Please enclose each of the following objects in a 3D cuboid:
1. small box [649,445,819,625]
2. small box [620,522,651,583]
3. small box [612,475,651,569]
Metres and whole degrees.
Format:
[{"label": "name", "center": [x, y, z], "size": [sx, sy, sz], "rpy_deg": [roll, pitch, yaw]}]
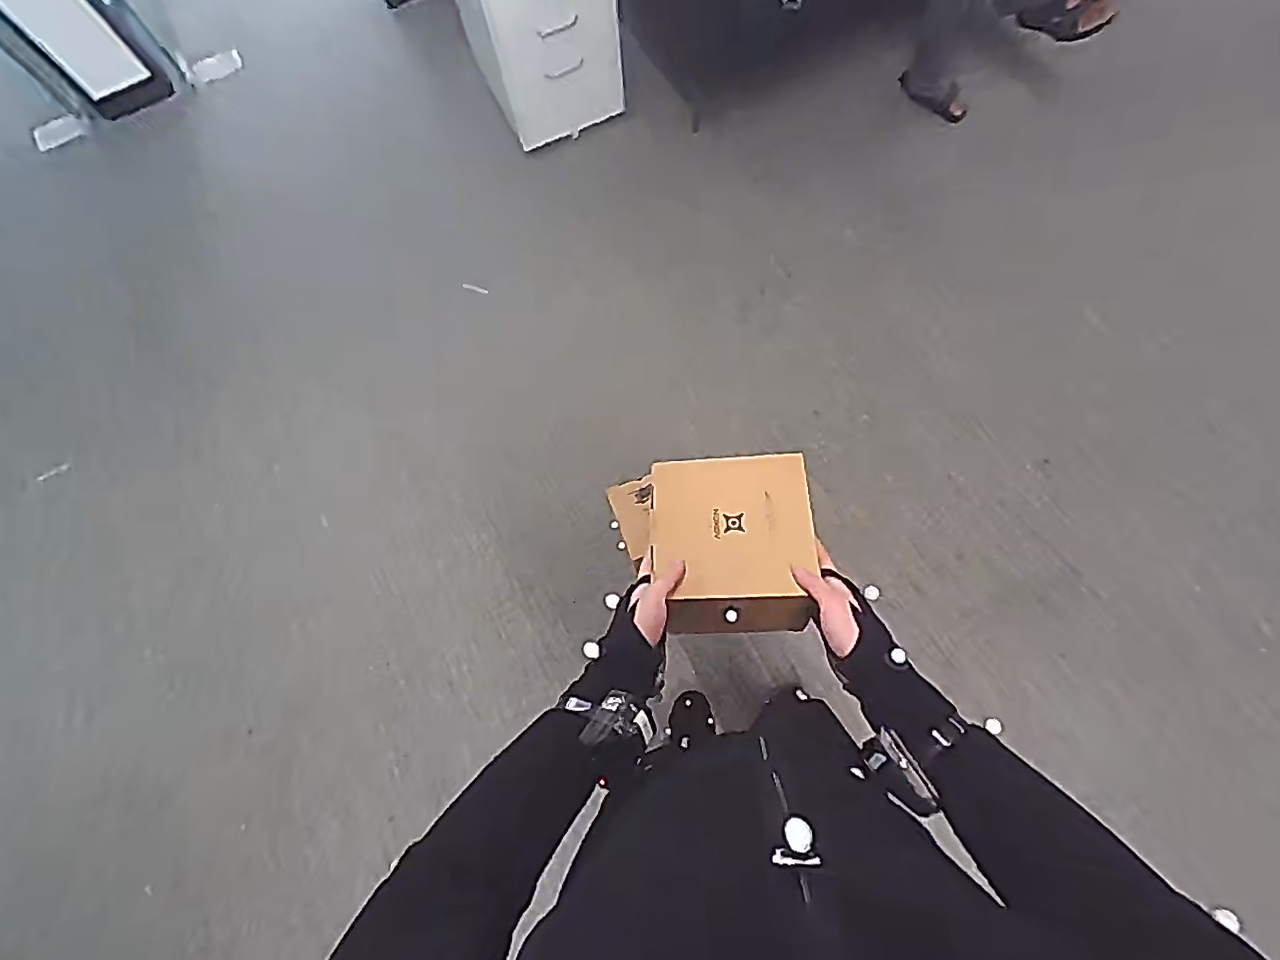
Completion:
[{"label": "small box", "center": [0.109, 0.076, 0.665], "size": [0.179, 0.176, 0.168], "rpy_deg": [-4, 60, 7]}, {"label": "small box", "center": [0.049, 0.156, 1.436], "size": [0.168, 0.176, 0.179], "rpy_deg": [-21, 71, -5]}, {"label": "small box", "center": [0.040, 0.094, 1.283], "size": [0.168, 0.176, 0.179], "rpy_deg": [-20, 72, -4]}]
